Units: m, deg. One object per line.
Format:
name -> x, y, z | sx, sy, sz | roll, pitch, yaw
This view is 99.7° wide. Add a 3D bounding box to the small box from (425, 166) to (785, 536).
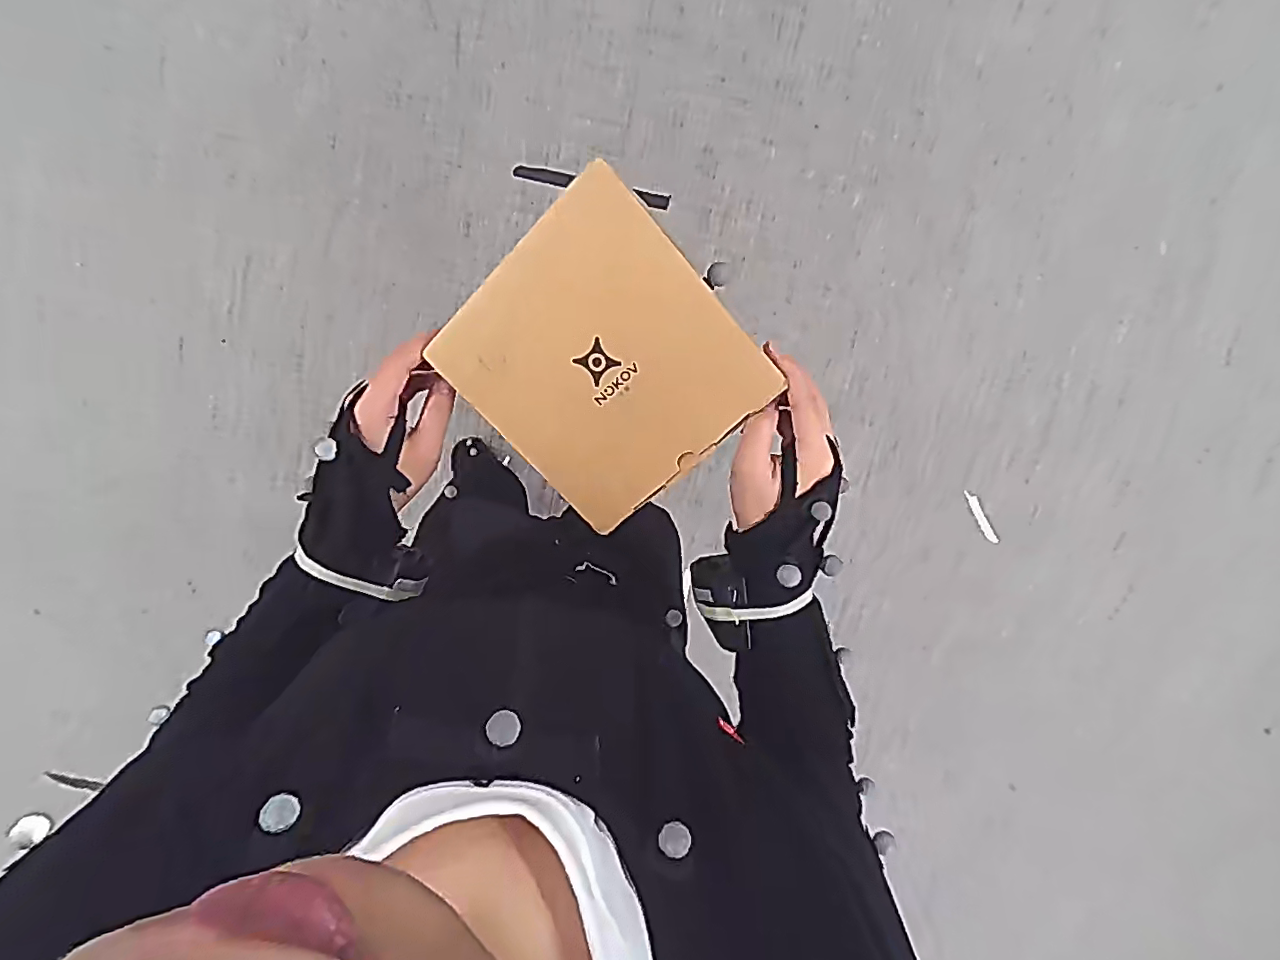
small box -> -0.019, -0.095, 0.419 | 0.168, 0.176, 0.179 | -41, 102, 17
